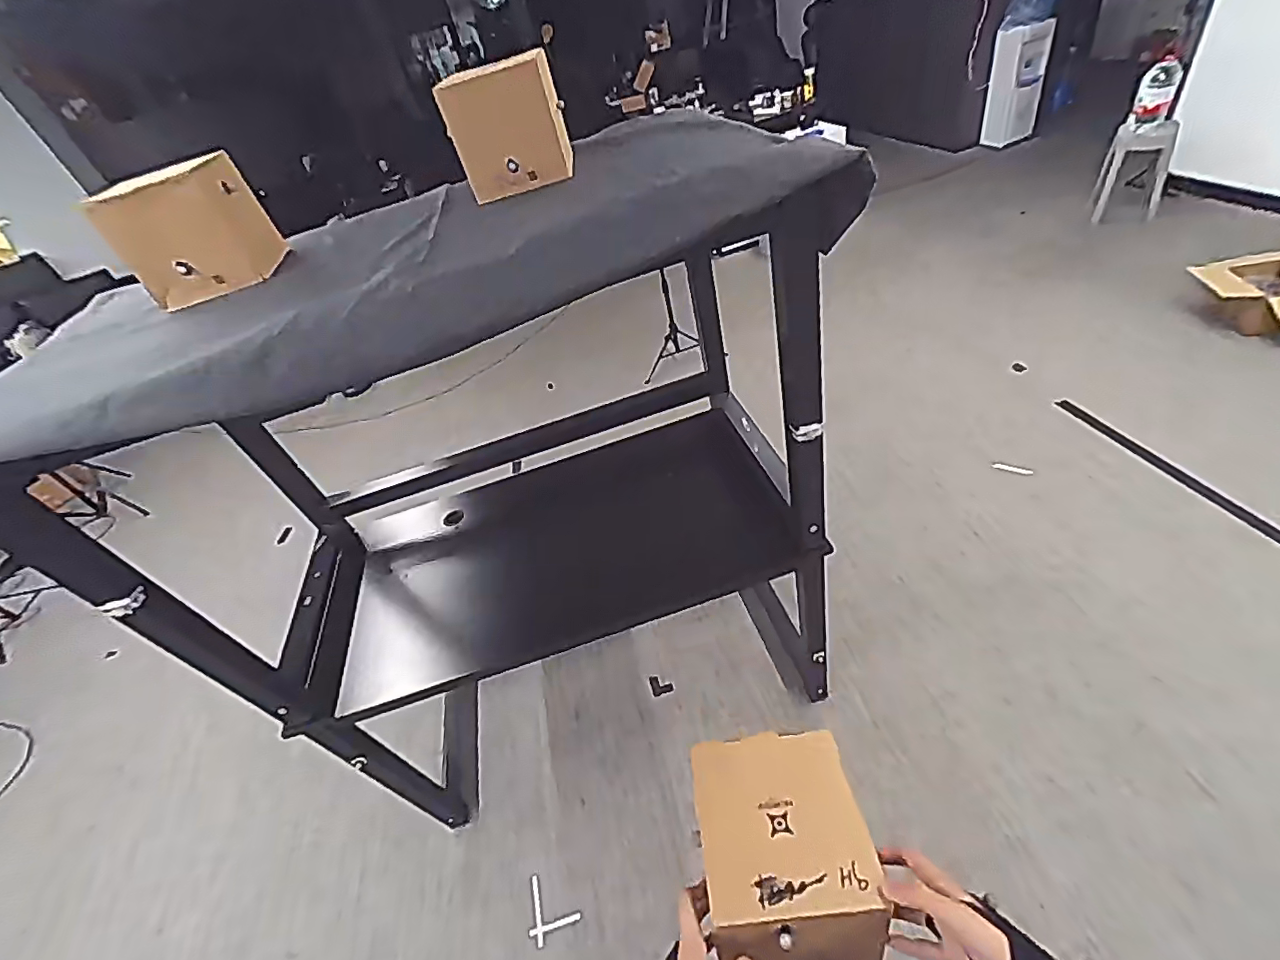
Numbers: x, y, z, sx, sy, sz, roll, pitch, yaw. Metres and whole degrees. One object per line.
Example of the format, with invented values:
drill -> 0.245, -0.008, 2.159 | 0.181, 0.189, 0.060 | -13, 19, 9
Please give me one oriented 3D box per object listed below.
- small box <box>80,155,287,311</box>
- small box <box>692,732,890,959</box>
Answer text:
small box -> -0.718, -0.401, 0.881 | 0.168, 0.176, 0.179 | -20, 42, -3
small box -> 0.151, 0.412, 0.593 | 0.168, 0.176, 0.179 | -8, 32, 4
